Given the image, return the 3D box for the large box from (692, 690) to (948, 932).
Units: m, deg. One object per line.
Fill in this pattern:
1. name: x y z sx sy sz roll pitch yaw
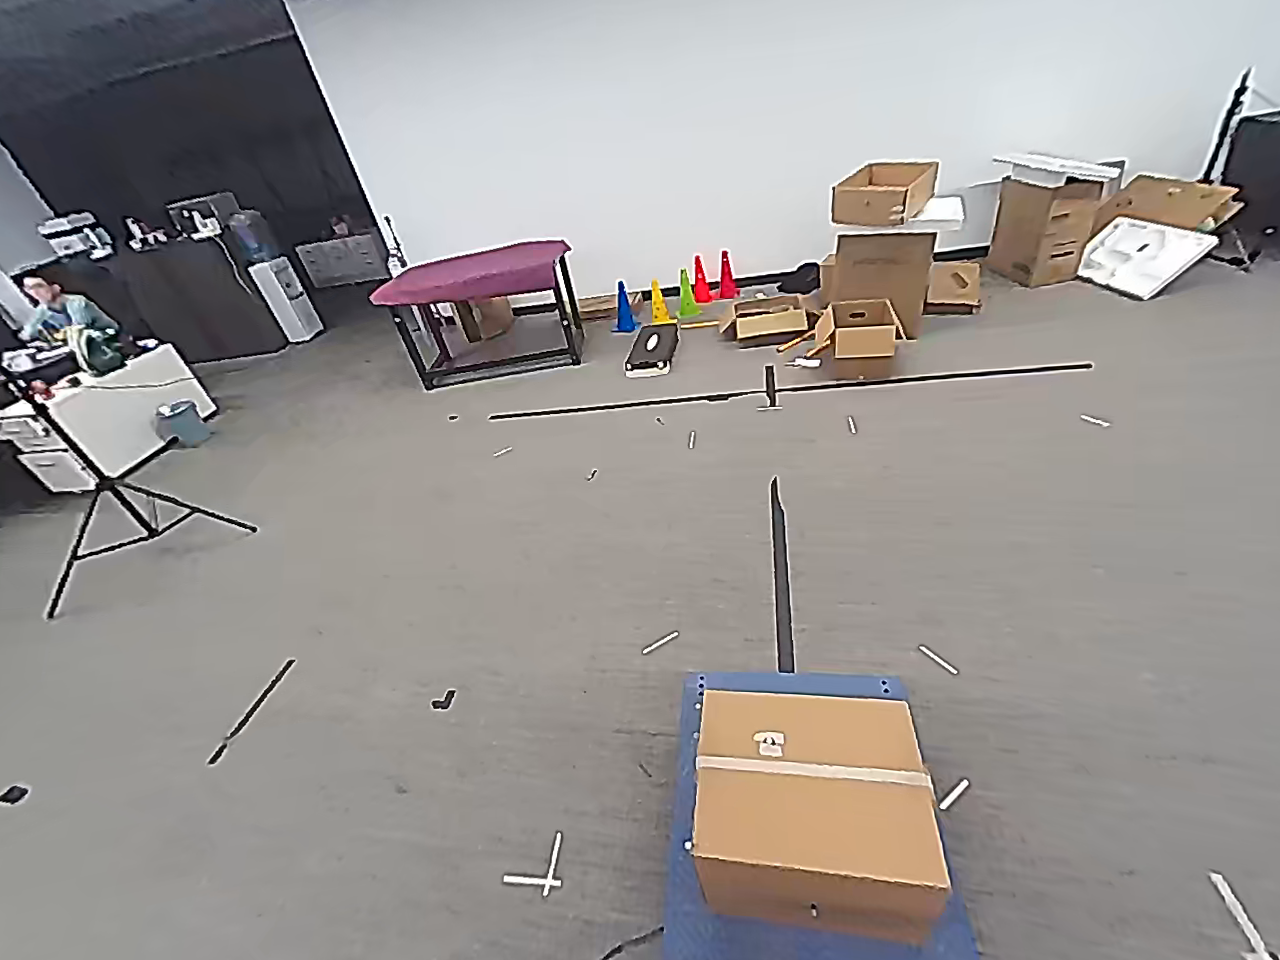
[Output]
1. large box: 0.331 0.643 1.071 0.408 0.320 0.320 -4 36 14
